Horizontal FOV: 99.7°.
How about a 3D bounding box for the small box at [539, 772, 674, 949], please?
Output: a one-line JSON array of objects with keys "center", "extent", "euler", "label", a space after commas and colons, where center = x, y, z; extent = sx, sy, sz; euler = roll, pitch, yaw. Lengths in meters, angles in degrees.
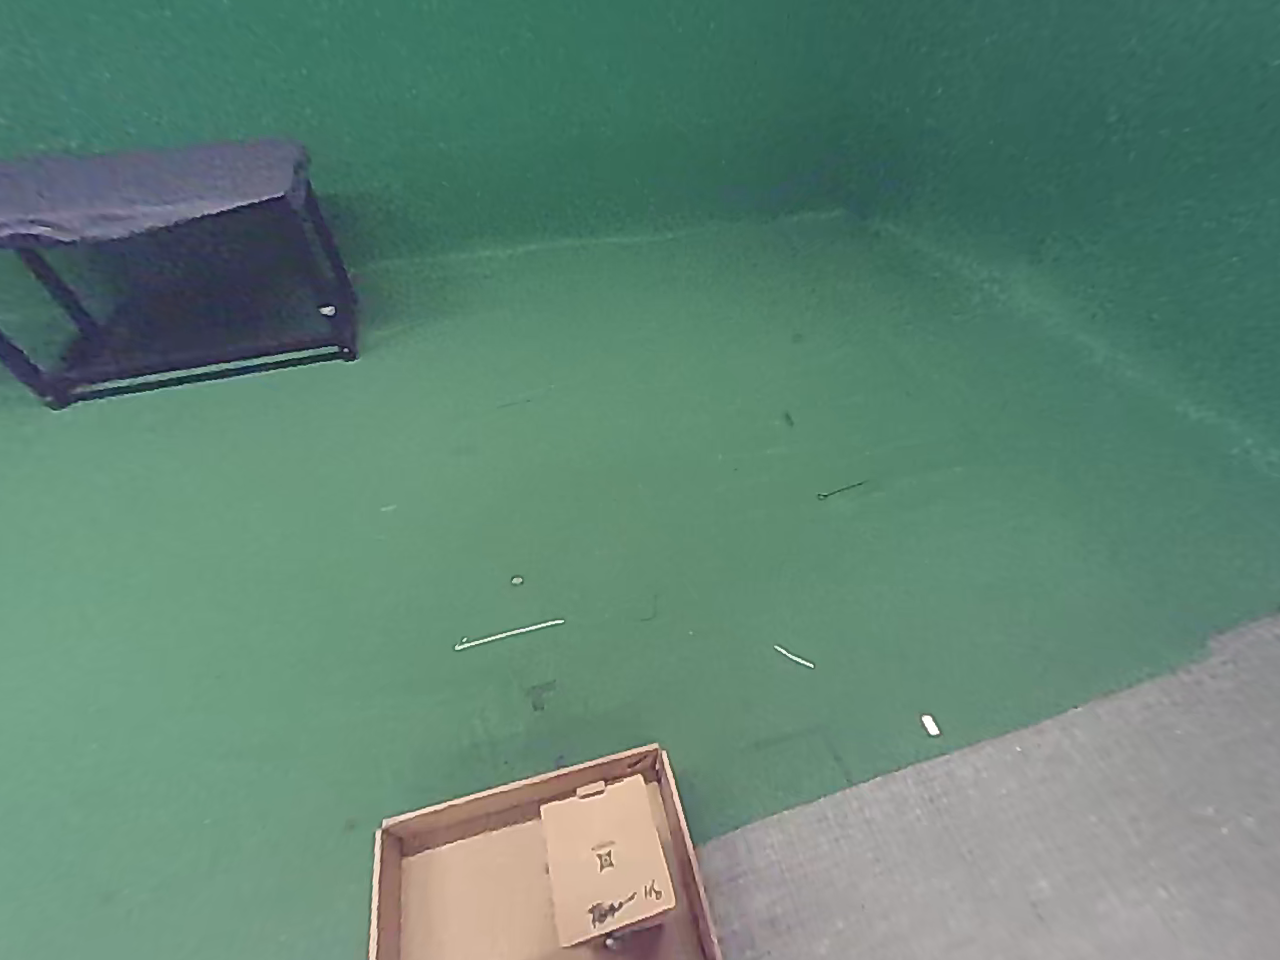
[{"center": [-0.054, 0.588, 0.836], "extent": [0.168, 0.176, 0.179], "euler": [-12, 49, -11], "label": "small box"}]
